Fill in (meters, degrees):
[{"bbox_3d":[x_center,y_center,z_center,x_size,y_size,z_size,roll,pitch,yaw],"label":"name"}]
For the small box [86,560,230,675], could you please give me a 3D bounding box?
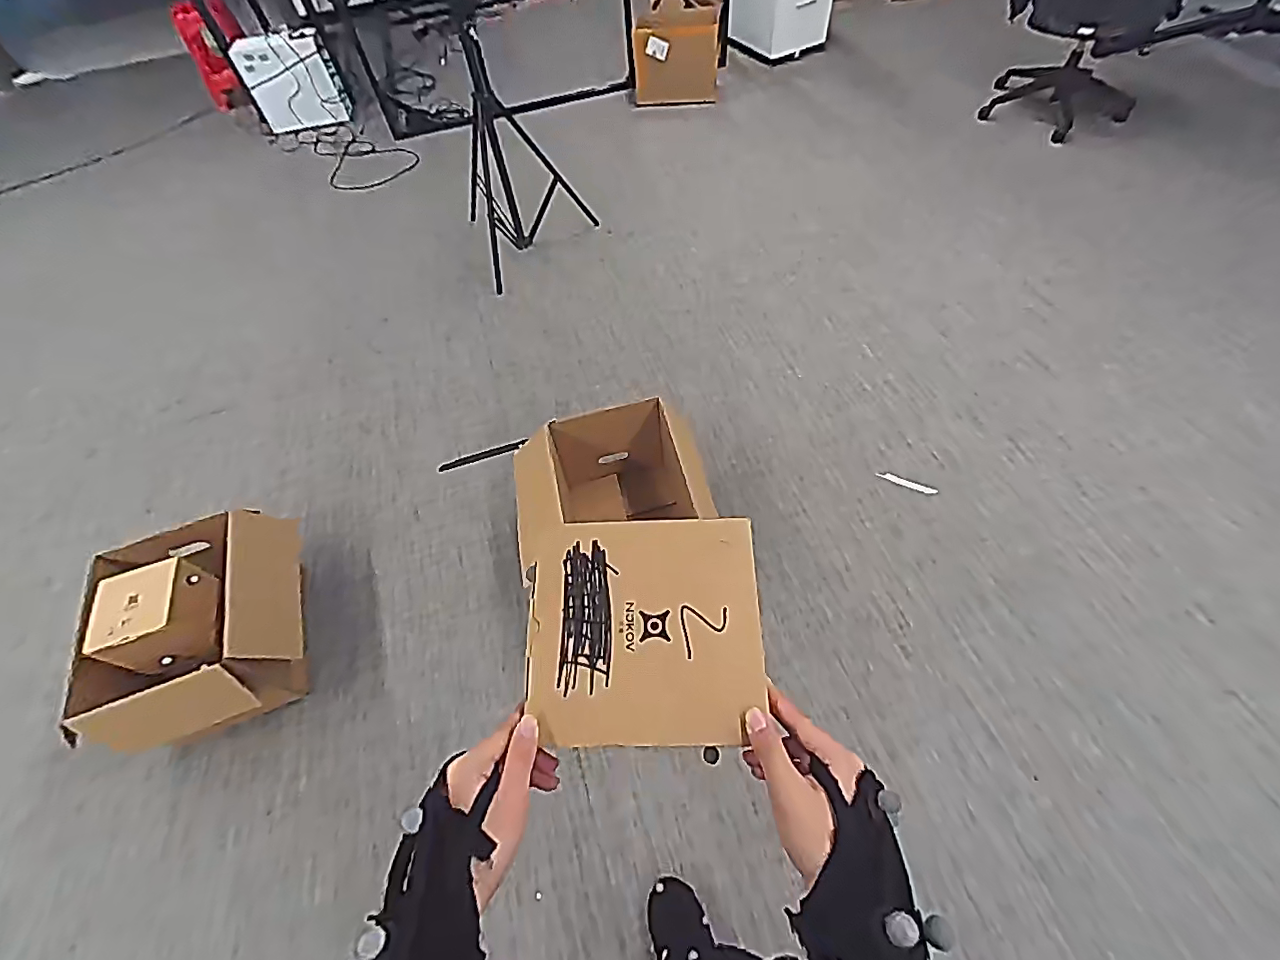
[{"bbox_3d":[-1.068,0.312,1.217,0.168,0.176,0.179,-19,57,-7],"label":"small box"}]
